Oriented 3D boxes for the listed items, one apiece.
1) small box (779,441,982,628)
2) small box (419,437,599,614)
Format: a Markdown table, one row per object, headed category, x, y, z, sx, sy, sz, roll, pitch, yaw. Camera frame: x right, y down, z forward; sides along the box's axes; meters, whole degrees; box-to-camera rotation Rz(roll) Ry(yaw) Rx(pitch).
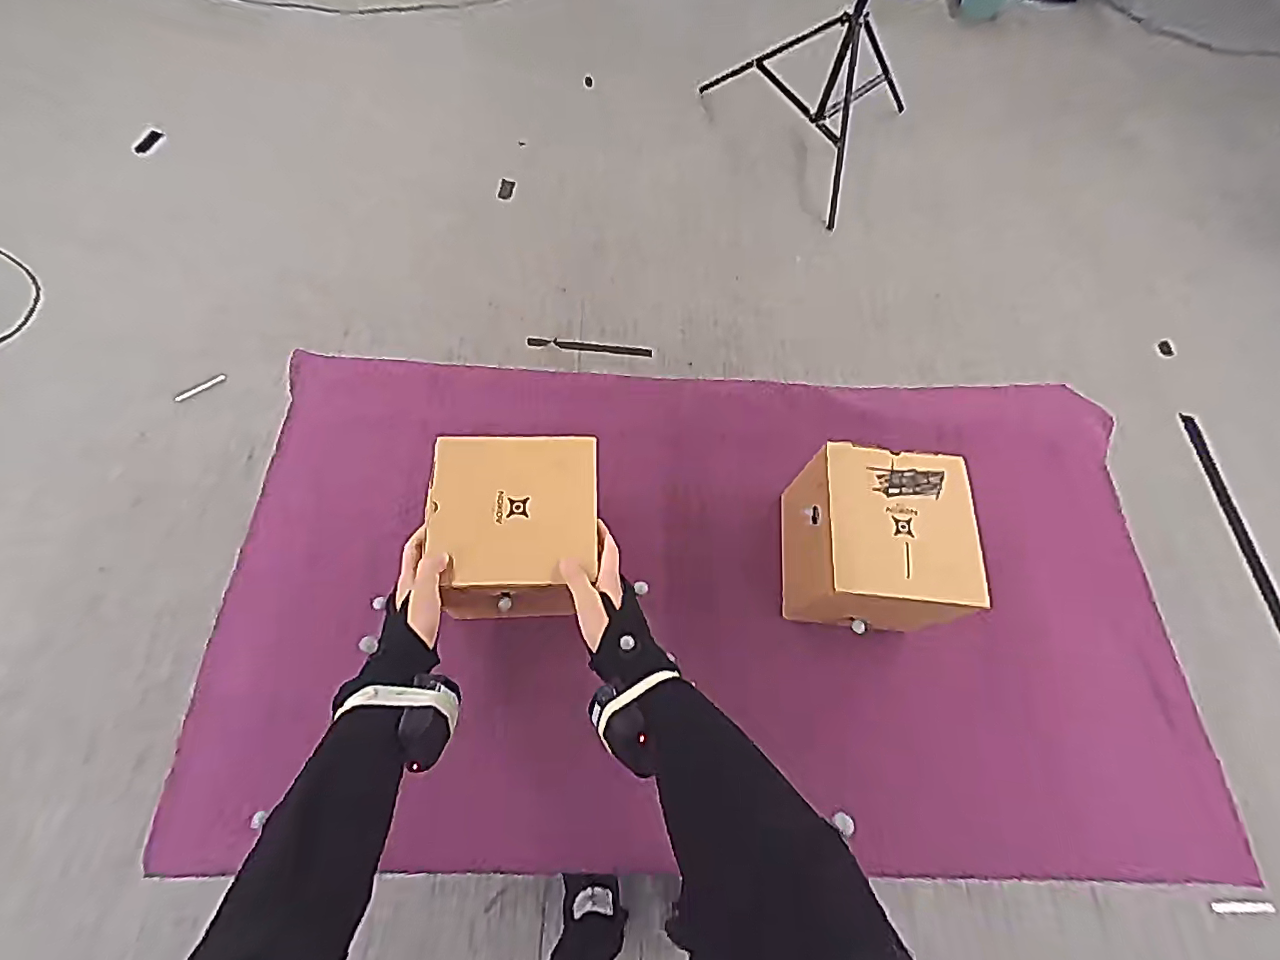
| category | x | y | z | sx | sy | sz | roll | pitch | yaw |
| --- | --- | --- | --- | --- | --- | --- | --- | --- | --- |
| small box | 0.275 | 0.074 | 0.664 | 0.168 | 0.176 | 0.179 | 6 | 66 | -2 |
| small box | -0.139 | 0.060 | 0.636 | 0.179 | 0.176 | 0.168 | -1 | 67 | -5 |
